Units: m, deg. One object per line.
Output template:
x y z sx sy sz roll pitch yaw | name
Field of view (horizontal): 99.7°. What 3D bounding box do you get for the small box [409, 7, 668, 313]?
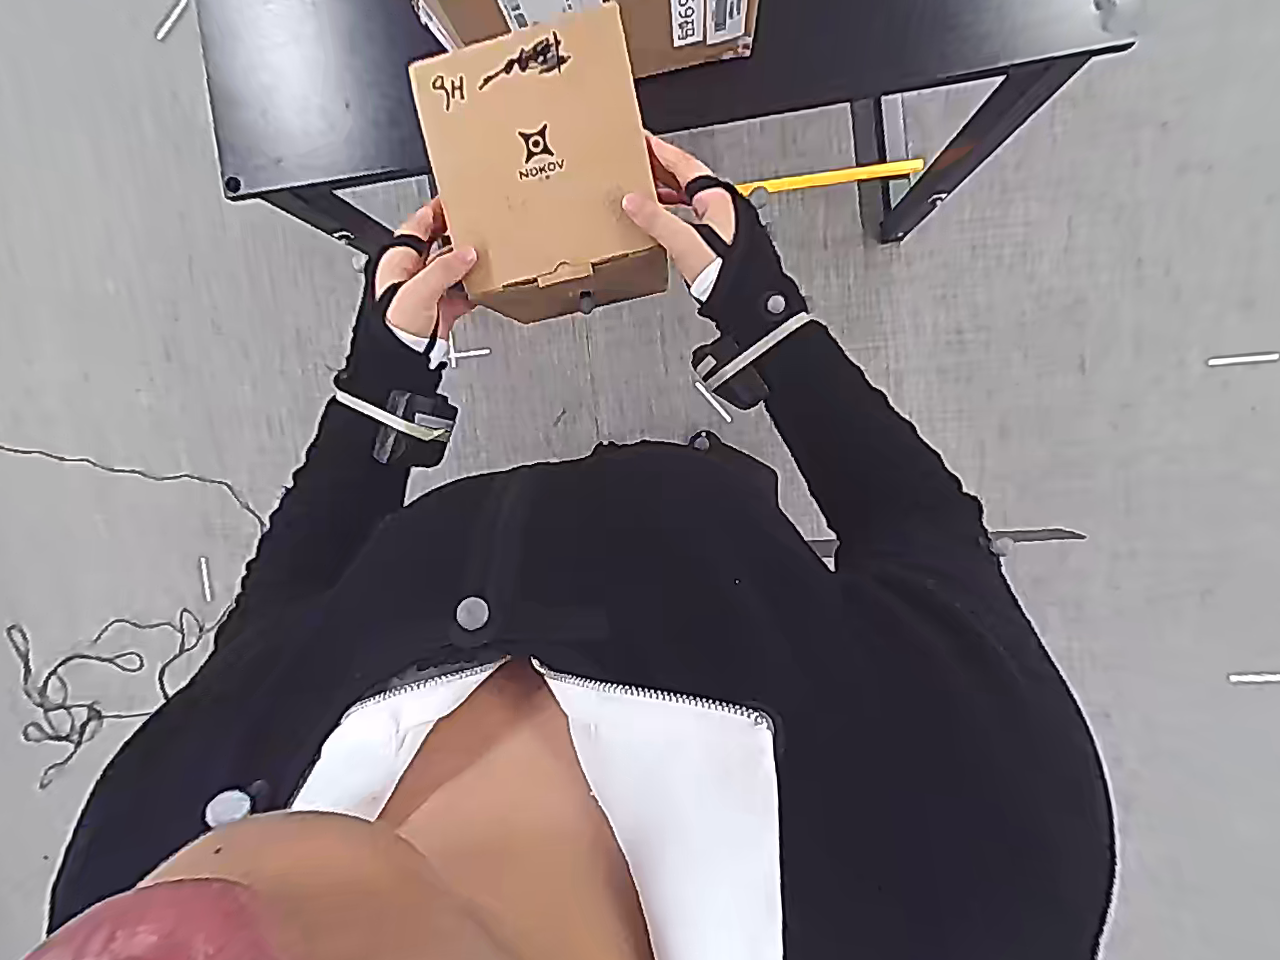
-0.072 -0.258 0.492 0.168 0.176 0.179 -12 99 7 | small box
